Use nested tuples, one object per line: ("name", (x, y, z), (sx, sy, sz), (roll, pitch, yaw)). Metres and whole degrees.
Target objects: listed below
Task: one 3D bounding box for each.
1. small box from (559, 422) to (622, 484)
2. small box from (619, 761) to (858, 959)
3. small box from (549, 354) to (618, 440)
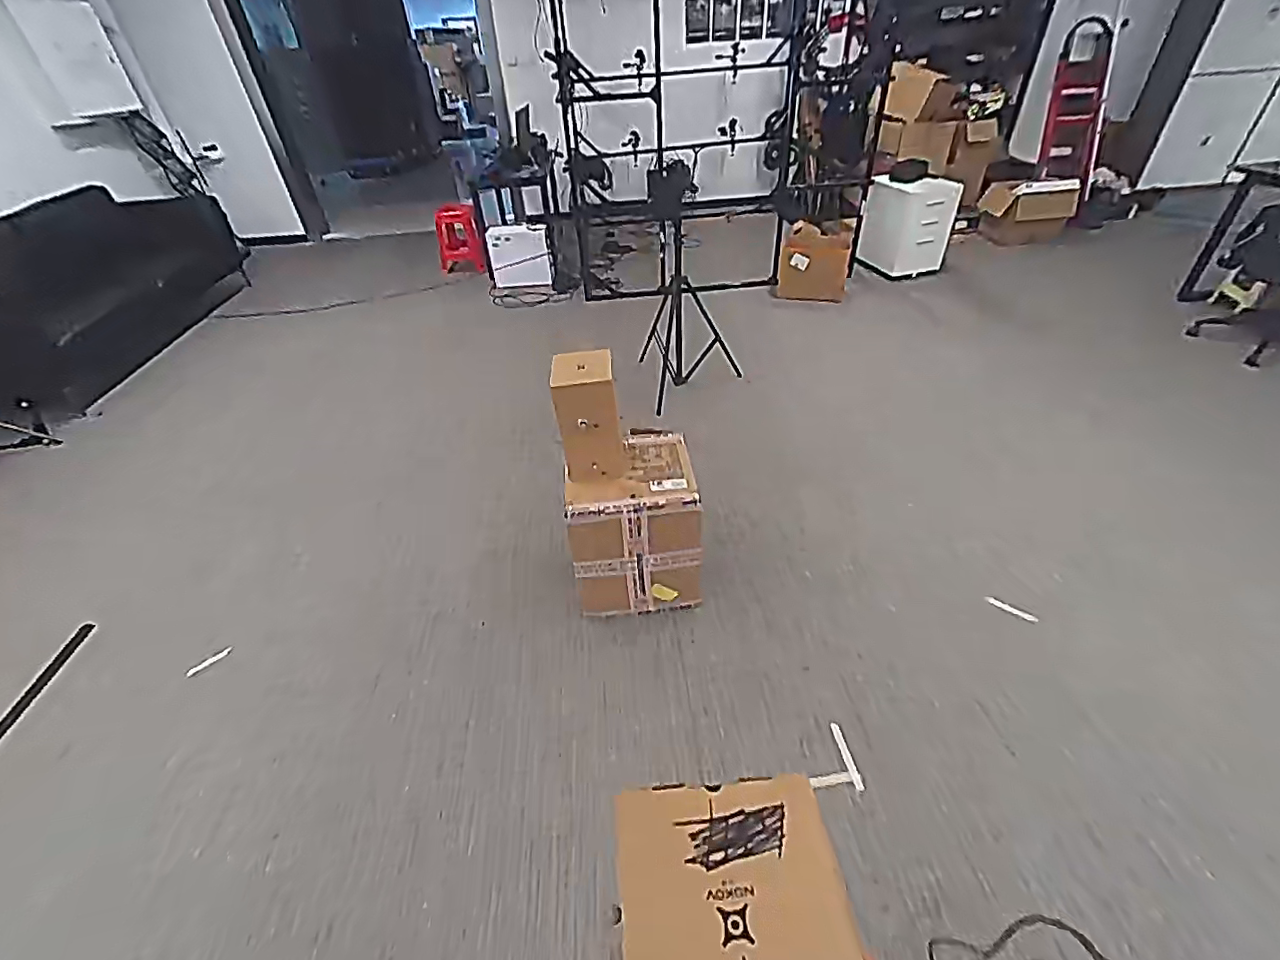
("small box", (-0.145, -0.111, 1.625), (0.168, 0.176, 0.179), (-6, 41, 0))
("small box", (0.066, 0.367, 0.457), (0.168, 0.176, 0.179), (-3, 41, -3))
("small box", (-0.155, -0.233, 1.519), (0.168, 0.176, 0.179), (-7, 41, 0))
